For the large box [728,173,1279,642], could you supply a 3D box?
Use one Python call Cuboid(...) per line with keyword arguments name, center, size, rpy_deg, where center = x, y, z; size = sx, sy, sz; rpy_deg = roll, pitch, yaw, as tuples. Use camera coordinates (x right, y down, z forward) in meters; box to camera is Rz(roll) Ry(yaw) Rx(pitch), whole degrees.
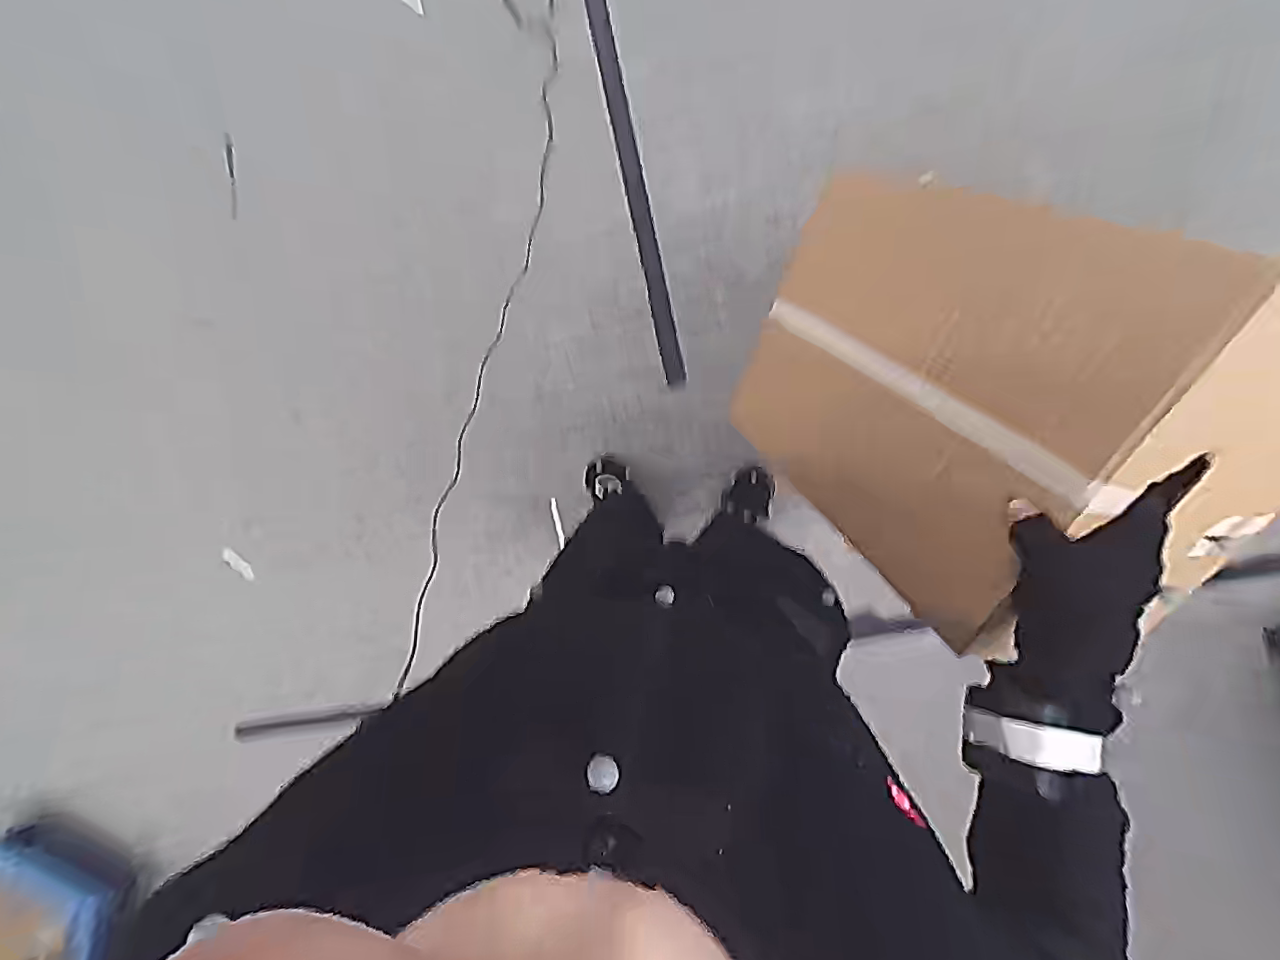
Cuboid(name="large box", center=(0.363, -0.093, 0.579), size=(0.320, 0.408, 0.320), rpy_deg=(2, 123, -26))
